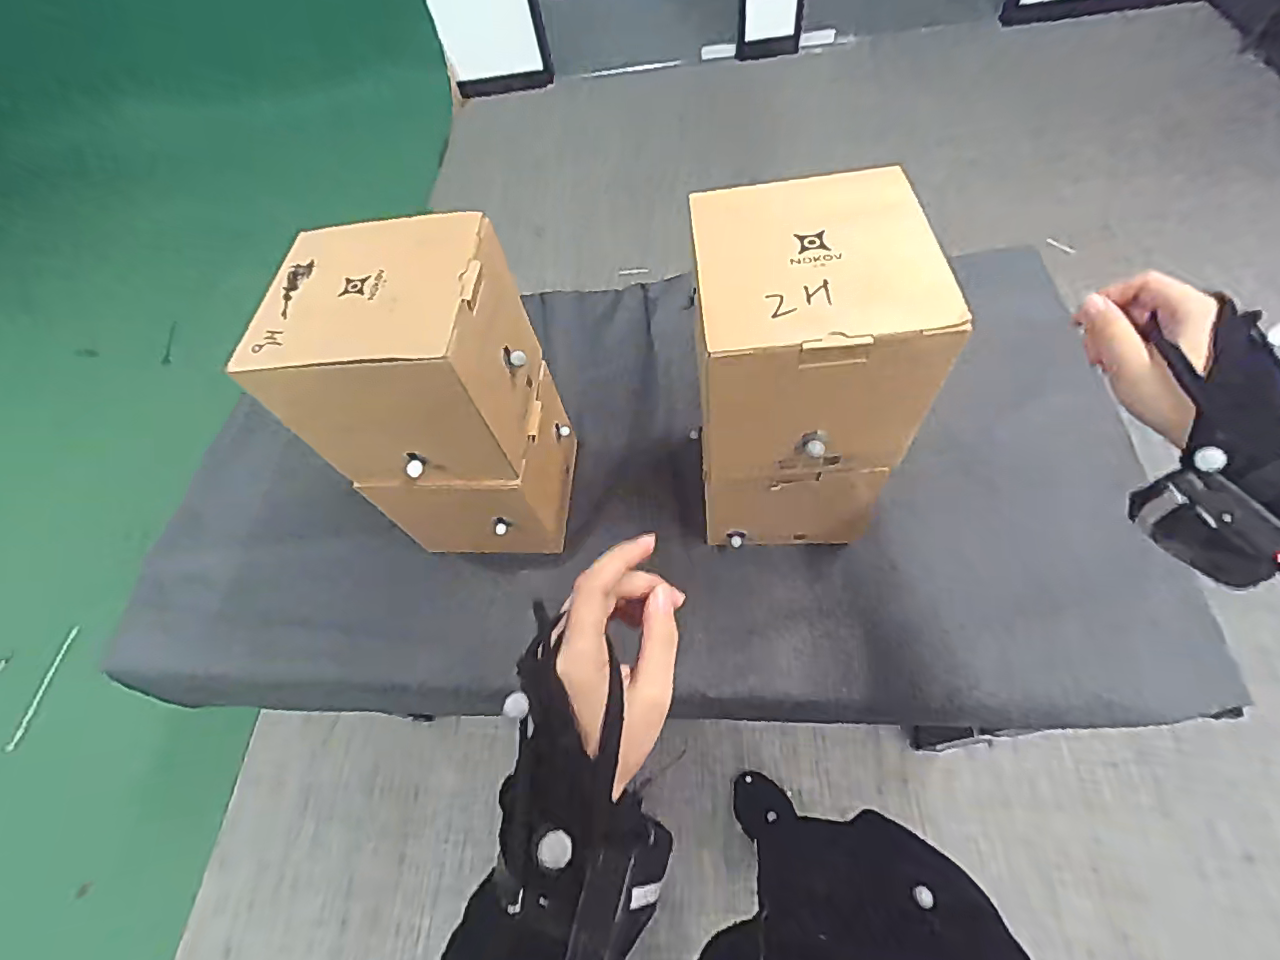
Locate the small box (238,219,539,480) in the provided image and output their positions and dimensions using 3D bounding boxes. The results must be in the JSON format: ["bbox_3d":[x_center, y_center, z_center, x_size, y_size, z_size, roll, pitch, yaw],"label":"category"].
[{"bbox_3d":[-0.203,-0.111,0.502,0.179,0.176,0.168,-2,59,7],"label":"small box"}]

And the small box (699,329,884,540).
[{"bbox_3d":[0.152,-0.041,0.601,0.168,0.176,0.179,-2,58,7],"label":"small box"}]

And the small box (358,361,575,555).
[{"bbox_3d":[-0.183,-0.020,0.637,0.179,0.176,0.168,-1,58,8],"label":"small box"}]
